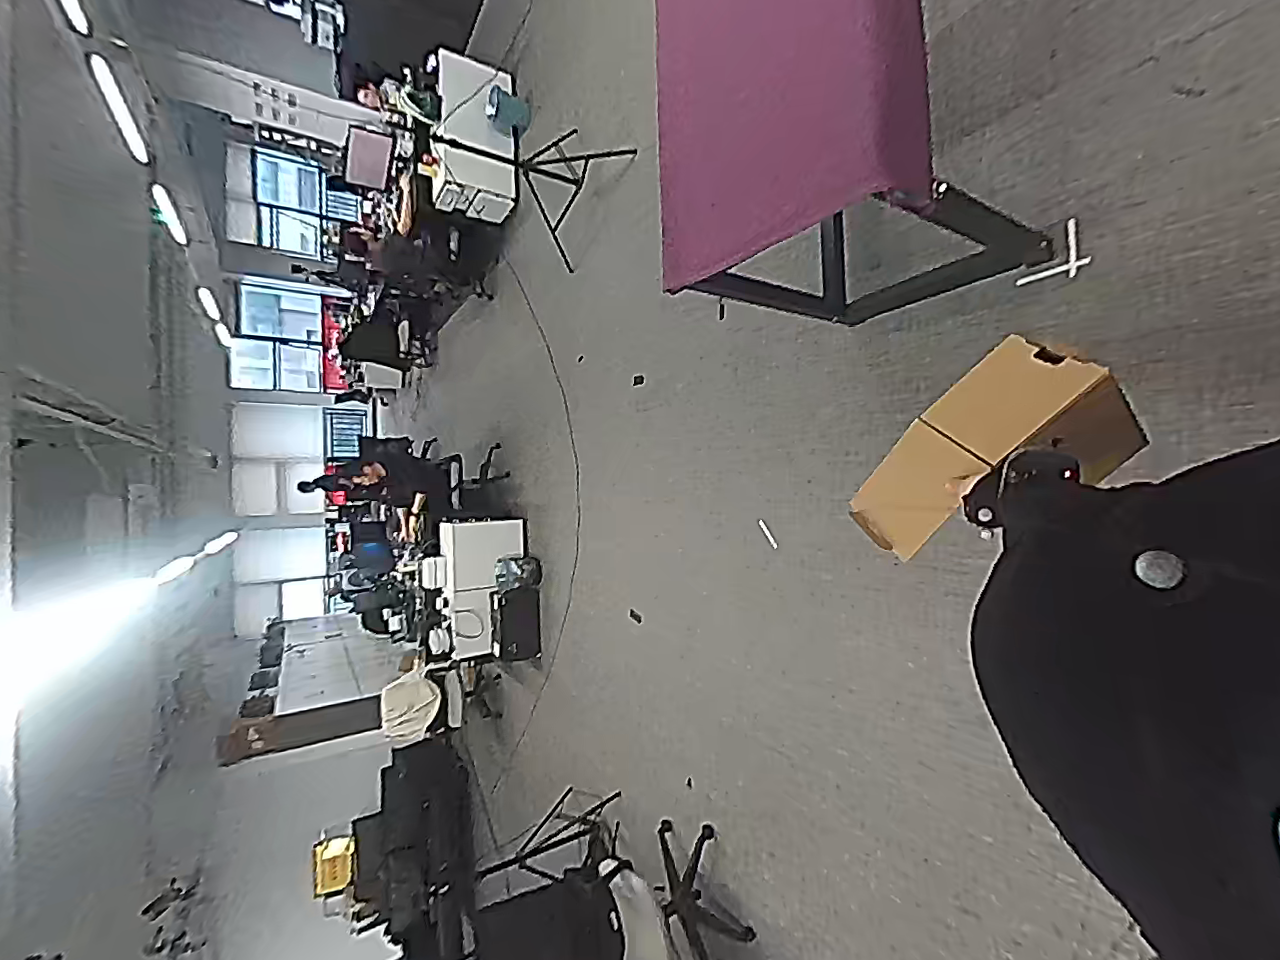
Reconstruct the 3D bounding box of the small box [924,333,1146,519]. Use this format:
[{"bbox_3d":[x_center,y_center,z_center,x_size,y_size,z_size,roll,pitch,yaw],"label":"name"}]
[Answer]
[{"bbox_3d":[0.569,-0.075,0.786,0.179,0.176,0.168,-45,28,16],"label":"small box"}]
